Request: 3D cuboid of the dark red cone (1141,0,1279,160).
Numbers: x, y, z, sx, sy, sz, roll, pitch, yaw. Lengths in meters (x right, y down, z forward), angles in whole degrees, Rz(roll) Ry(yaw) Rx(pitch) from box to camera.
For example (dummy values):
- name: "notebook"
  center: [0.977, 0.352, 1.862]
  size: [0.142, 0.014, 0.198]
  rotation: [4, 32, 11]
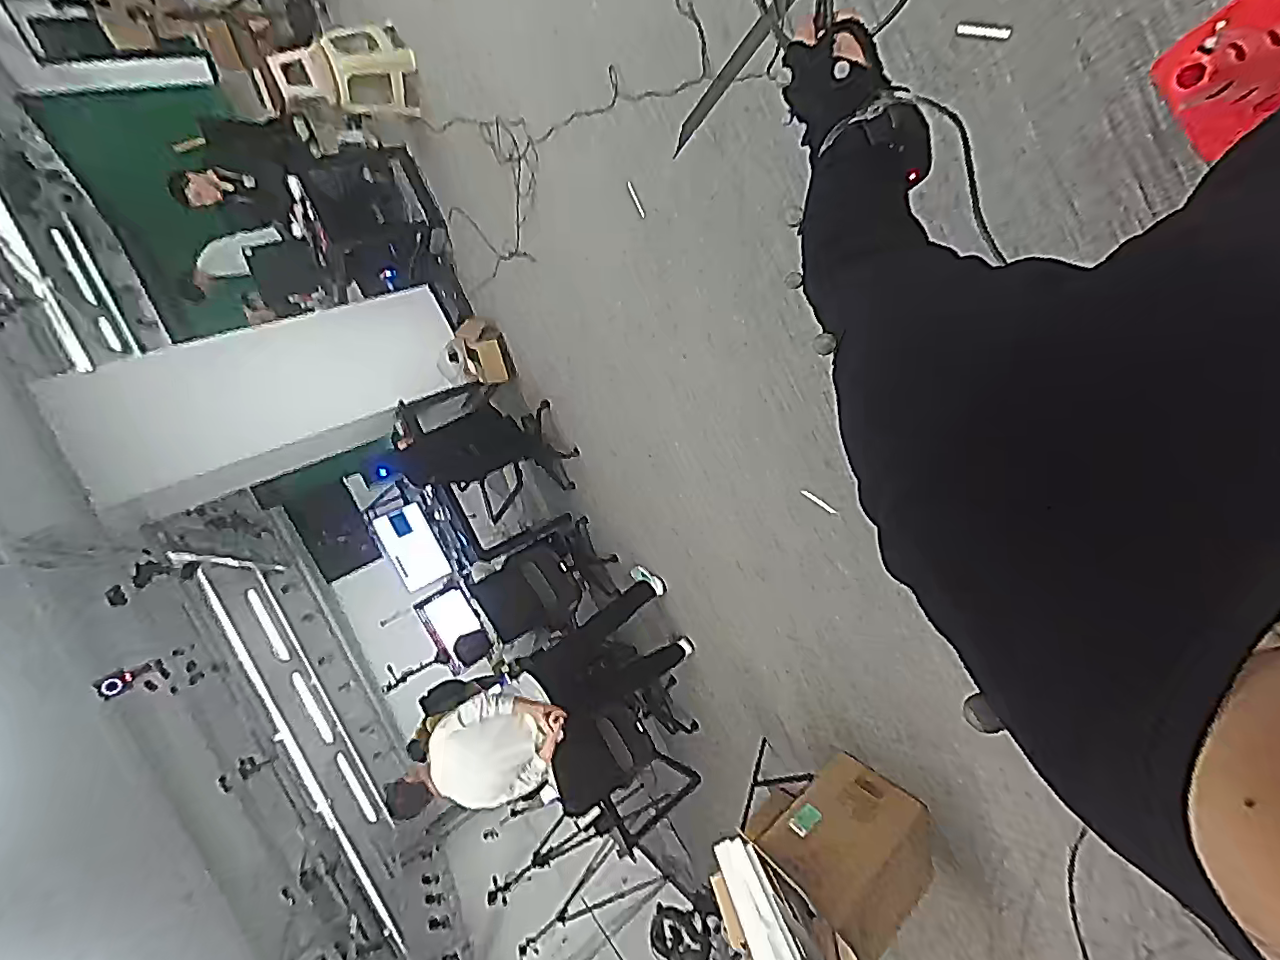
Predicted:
- name: "dark red cone"
  center: [0.772, -0.556, 0.722]
  size: [0.201, 0.394, 0.202]
  rotation: [62, 152, 4]
